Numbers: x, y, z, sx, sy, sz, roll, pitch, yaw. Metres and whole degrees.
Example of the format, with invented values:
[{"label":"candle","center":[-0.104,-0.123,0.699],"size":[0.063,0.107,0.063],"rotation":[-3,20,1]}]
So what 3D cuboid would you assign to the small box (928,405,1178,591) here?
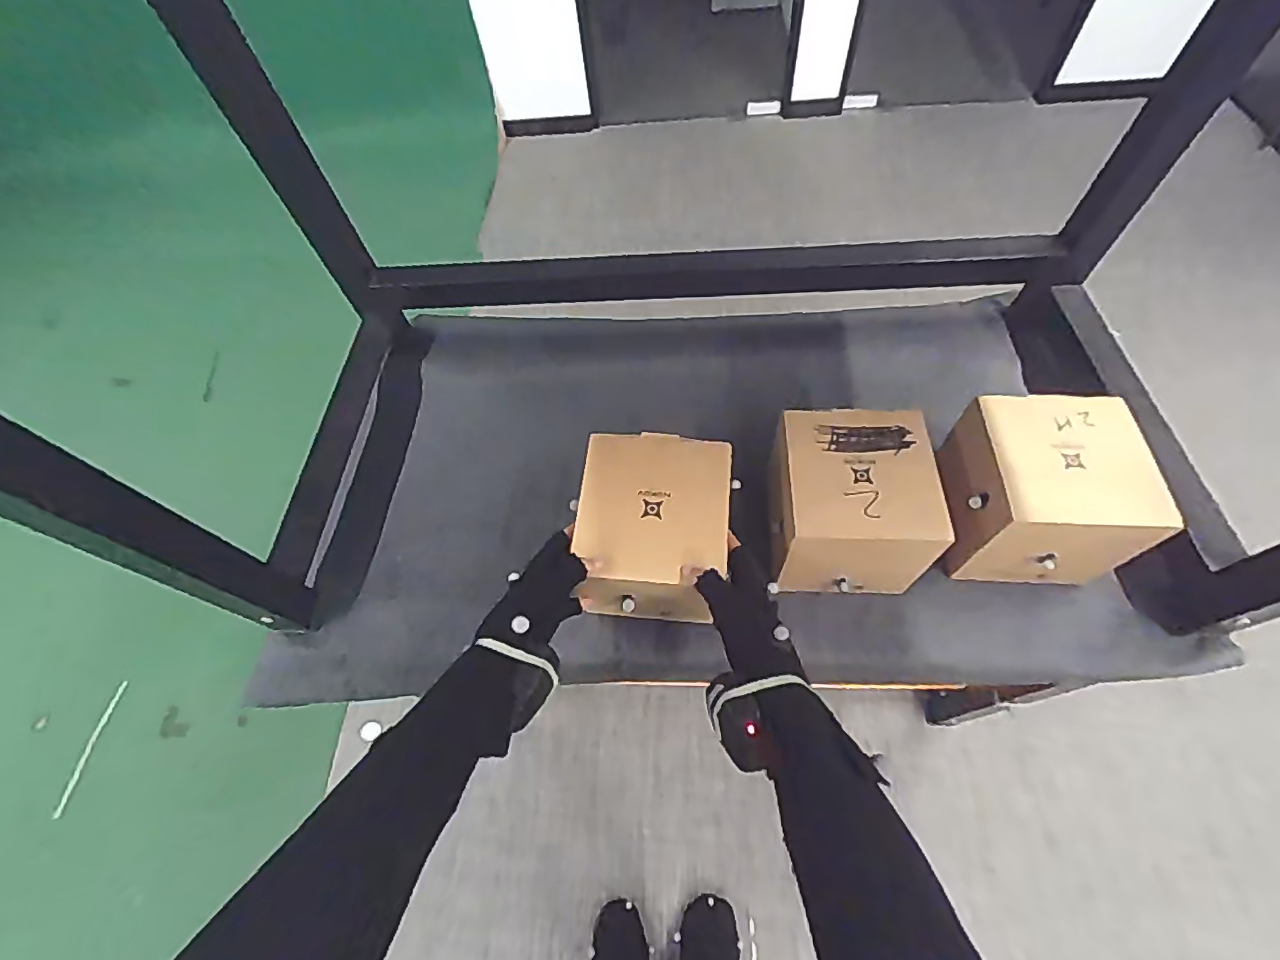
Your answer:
[{"label":"small box","center":[0.484,0.027,0.671],"size":[0.168,0.176,0.179],"rotation":[2,58,7]}]

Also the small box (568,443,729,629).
[{"label":"small box","center":[0.018,0.075,0.662],"size":[0.168,0.176,0.179],"rotation":[4,62,5]}]
